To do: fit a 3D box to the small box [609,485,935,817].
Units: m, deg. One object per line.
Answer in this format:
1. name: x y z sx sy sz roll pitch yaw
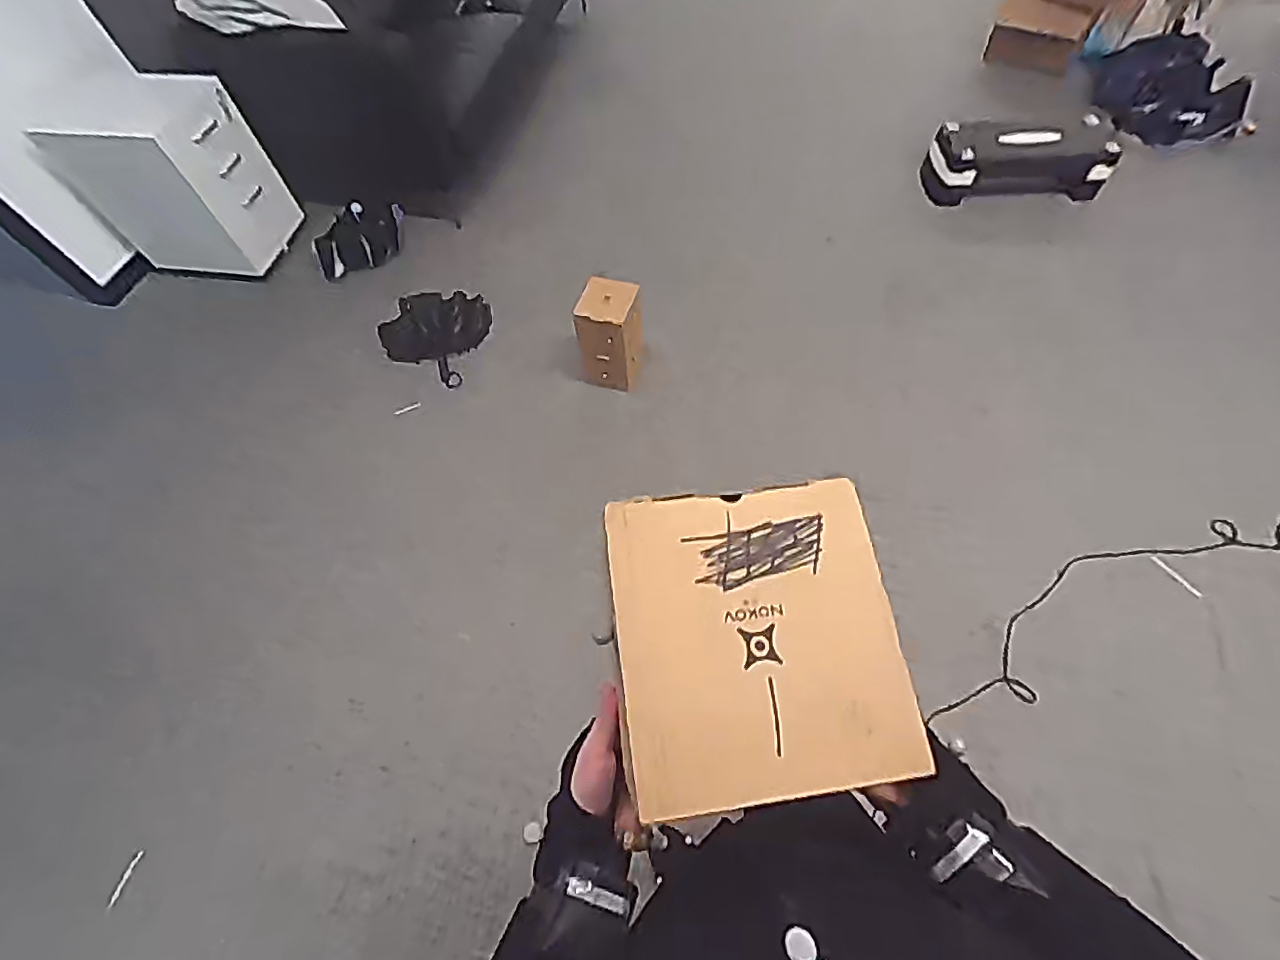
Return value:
1. small box: 0.067 0.118 0.393 0.168 0.176 0.179 -5 70 -6
